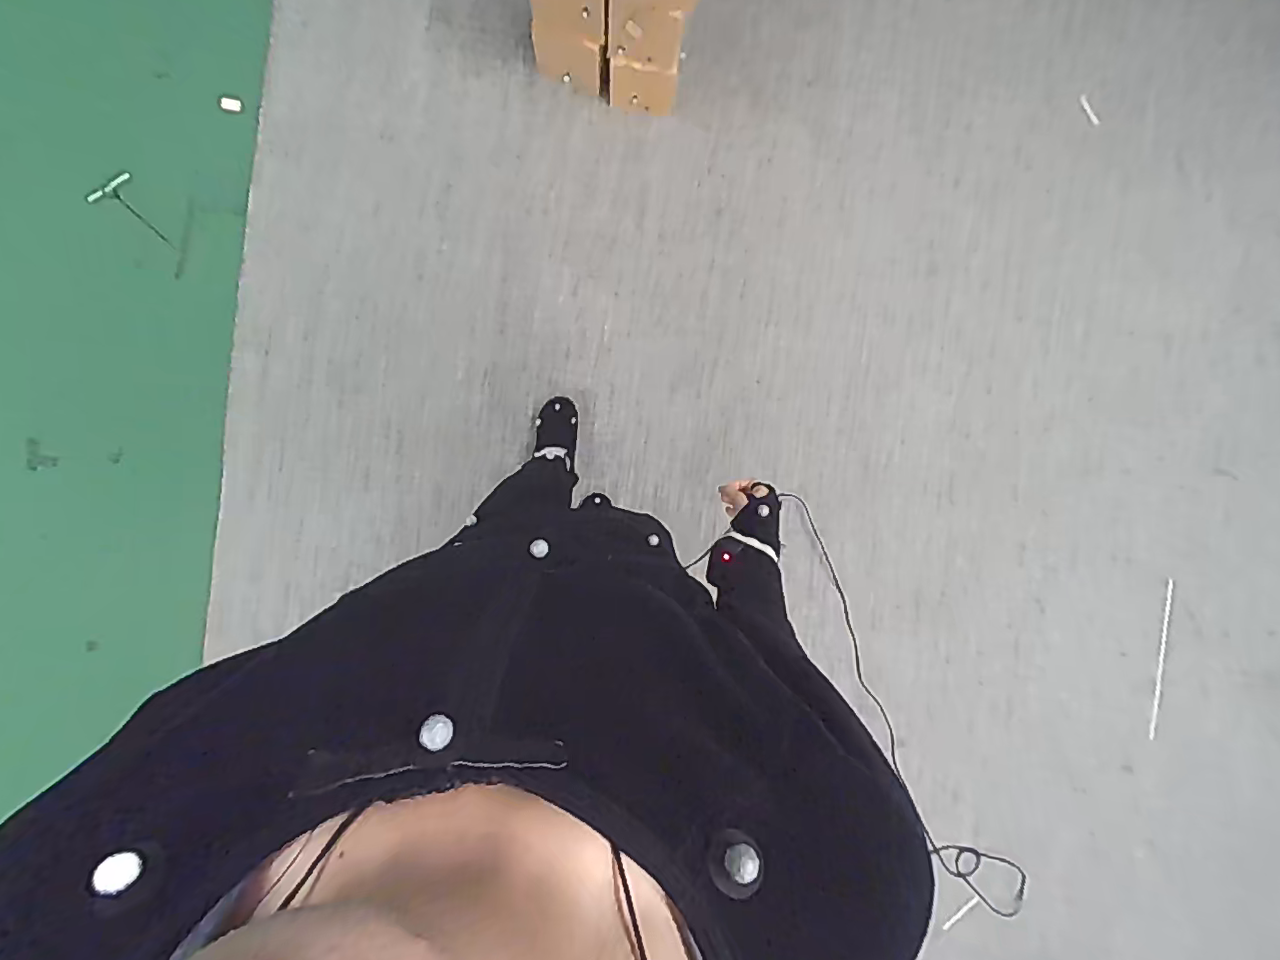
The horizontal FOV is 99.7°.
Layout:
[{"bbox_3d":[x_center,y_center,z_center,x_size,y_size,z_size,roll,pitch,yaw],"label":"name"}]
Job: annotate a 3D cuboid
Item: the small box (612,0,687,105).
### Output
[{"bbox_3d":[0.019,-1.115,1.387,0.168,0.176,0.179,7,93,-4],"label":"small box"}]
